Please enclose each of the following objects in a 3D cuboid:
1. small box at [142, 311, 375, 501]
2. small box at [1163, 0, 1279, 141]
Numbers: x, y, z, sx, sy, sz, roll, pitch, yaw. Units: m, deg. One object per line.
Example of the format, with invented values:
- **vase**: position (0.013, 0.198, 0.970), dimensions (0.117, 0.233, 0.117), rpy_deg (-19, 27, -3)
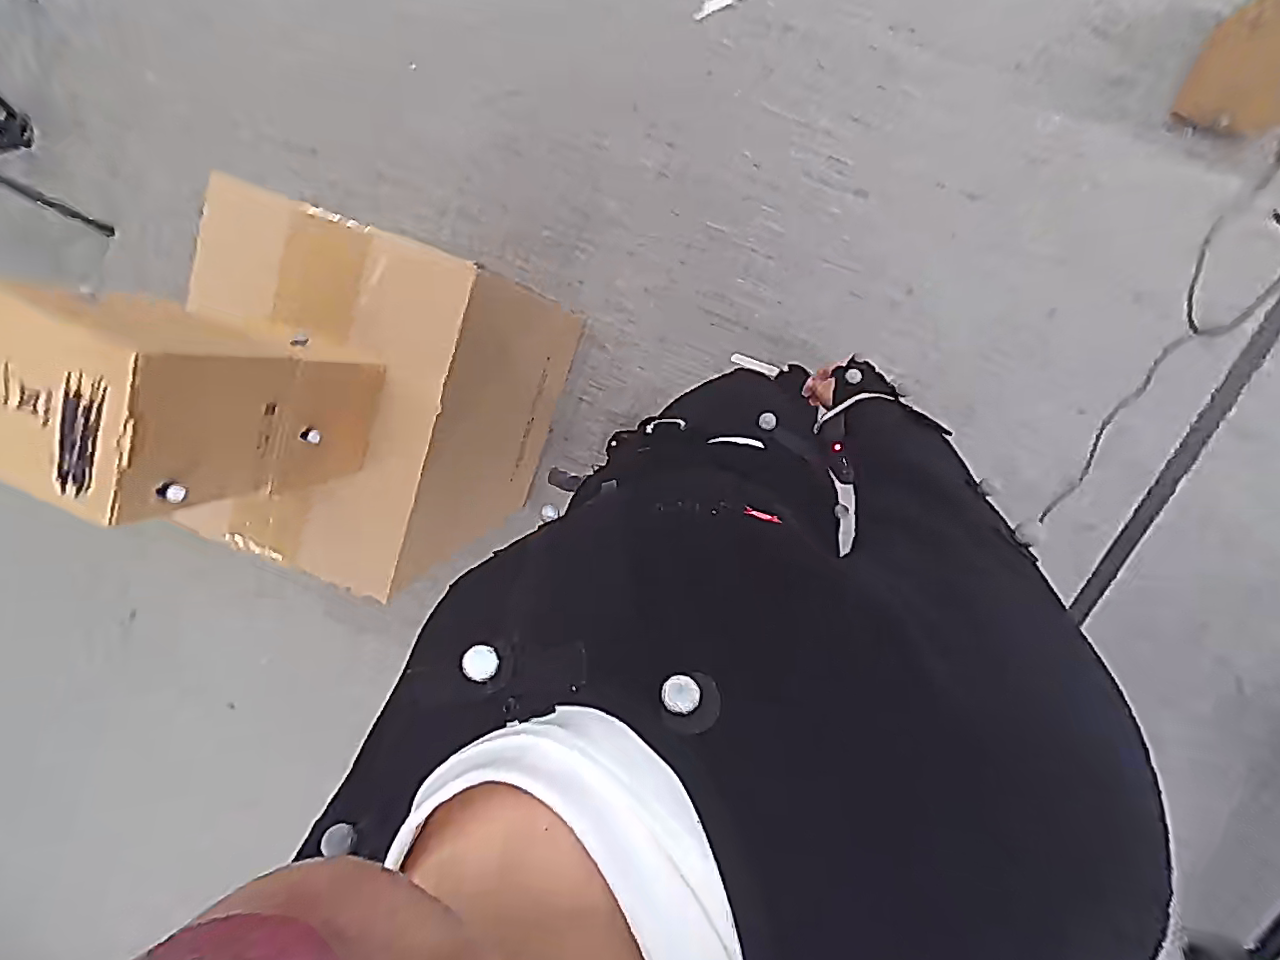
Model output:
- **small box**: position (-0.474, -0.098, 0.695), dimensions (0.168, 0.176, 0.179), rpy_deg (21, 103, 3)
- **small box**: position (1.142, -0.771, 0.995), dimensions (0.168, 0.176, 0.179), rpy_deg (22, 104, 3)
